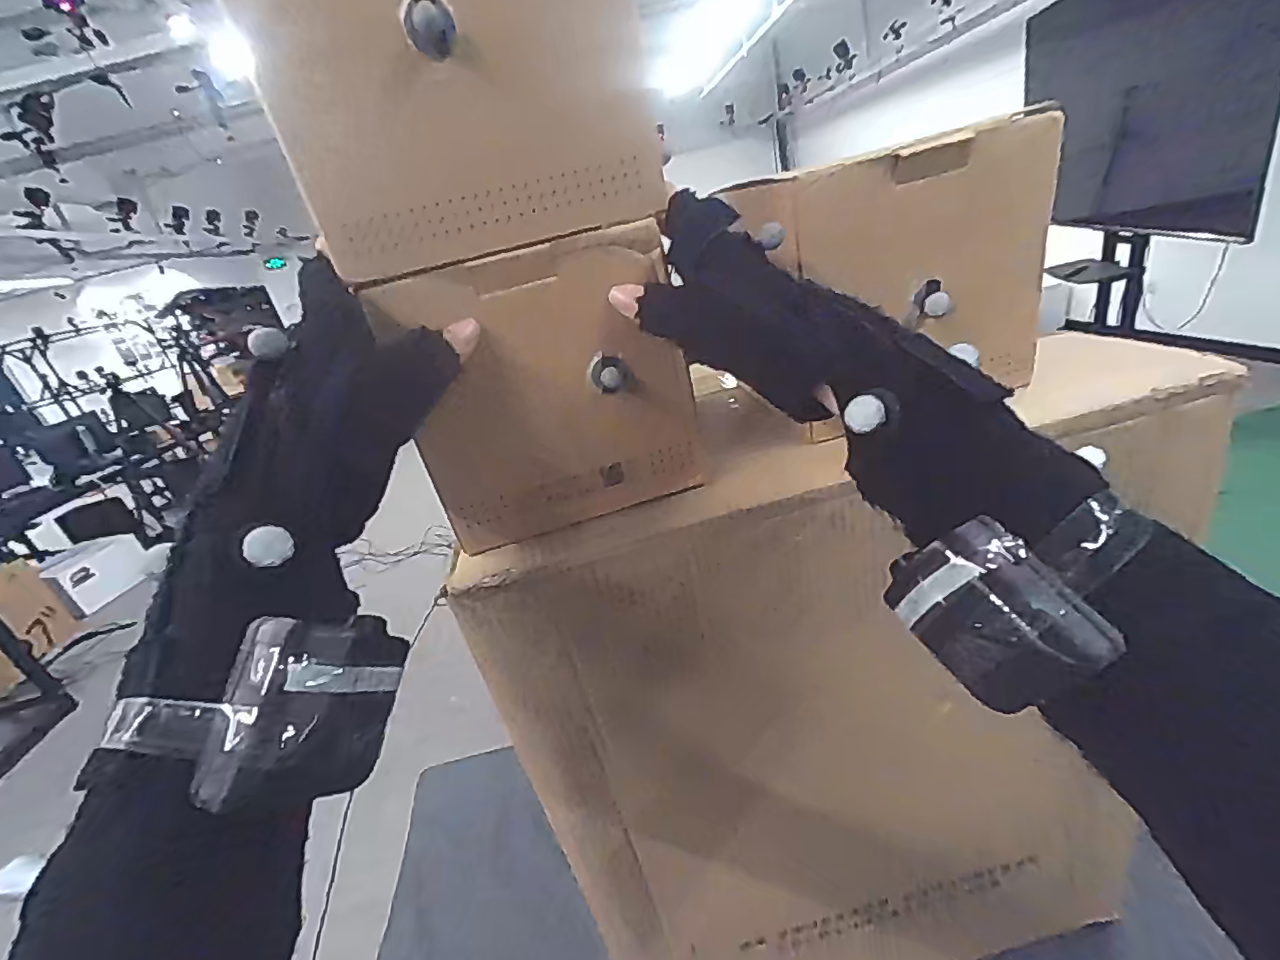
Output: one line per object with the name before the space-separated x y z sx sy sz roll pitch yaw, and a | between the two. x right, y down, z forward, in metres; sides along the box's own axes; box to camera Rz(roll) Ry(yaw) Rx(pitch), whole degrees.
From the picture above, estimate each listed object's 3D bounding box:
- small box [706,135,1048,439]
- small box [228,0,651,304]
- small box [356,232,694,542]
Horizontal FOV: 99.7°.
small box | 0.162 -0.143 0.419 0.168 0.176 0.179 -14 27 -4
small box | -0.100 -0.213 0.319 0.179 0.176 0.168 -17 27 -11
small box | -0.069 -0.071 0.395 0.168 0.176 0.179 -16 25 -5
